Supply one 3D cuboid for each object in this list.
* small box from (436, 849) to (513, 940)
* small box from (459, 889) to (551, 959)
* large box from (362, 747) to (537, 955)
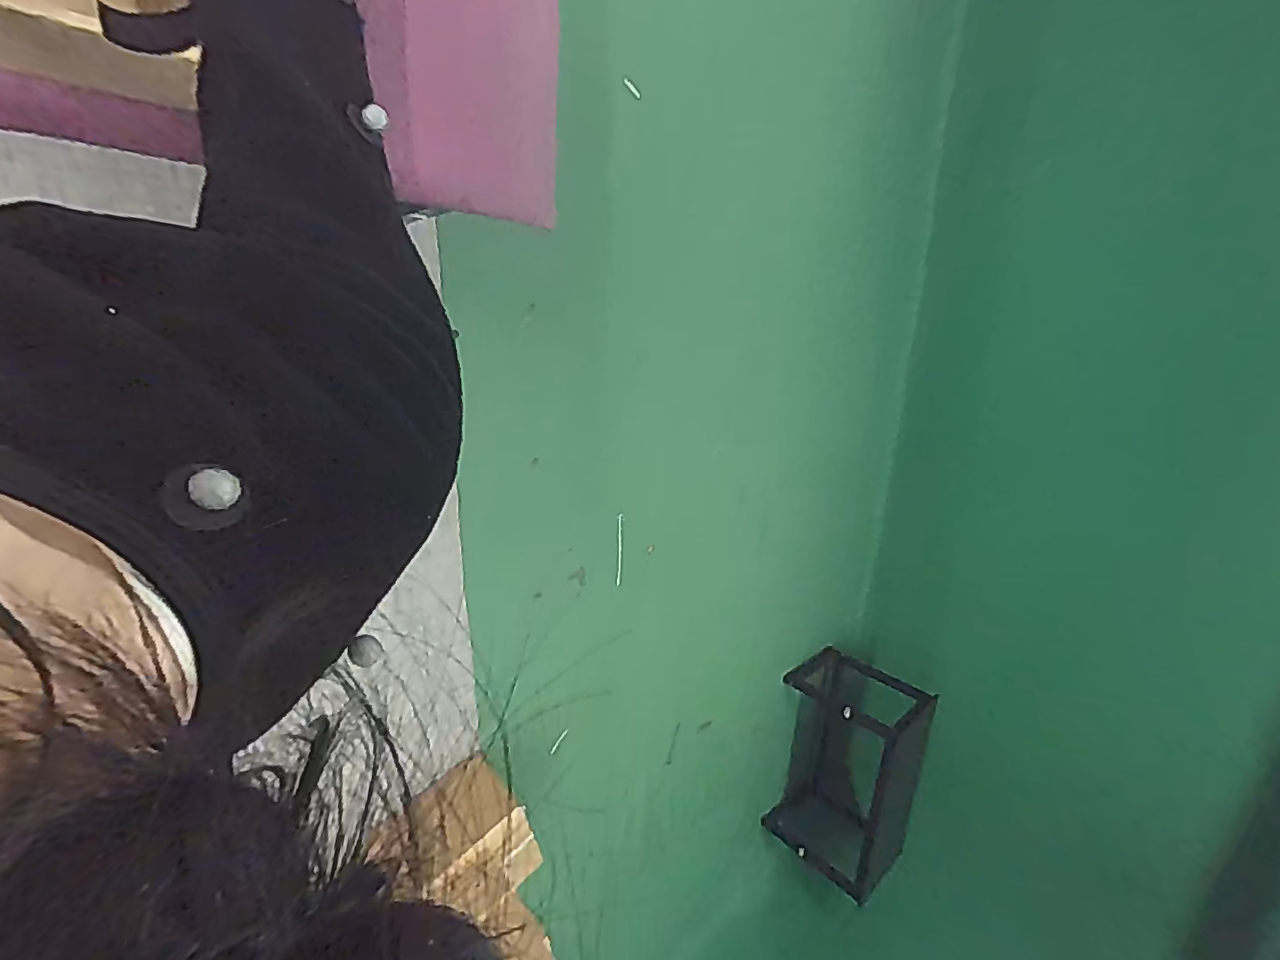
[{"bbox_3d":[-0.476,1.236,1.587,0.168,0.176,0.179,-24,119,-37],"label":"small box"},{"bbox_3d":[-0.368,1.281,1.474,0.179,0.176,0.168,-22,118,-37],"label":"small box"},{"bbox_3d":[-0.620,1.197,1.786,0.408,0.320,0.320,-31,124,-36],"label":"large box"}]
